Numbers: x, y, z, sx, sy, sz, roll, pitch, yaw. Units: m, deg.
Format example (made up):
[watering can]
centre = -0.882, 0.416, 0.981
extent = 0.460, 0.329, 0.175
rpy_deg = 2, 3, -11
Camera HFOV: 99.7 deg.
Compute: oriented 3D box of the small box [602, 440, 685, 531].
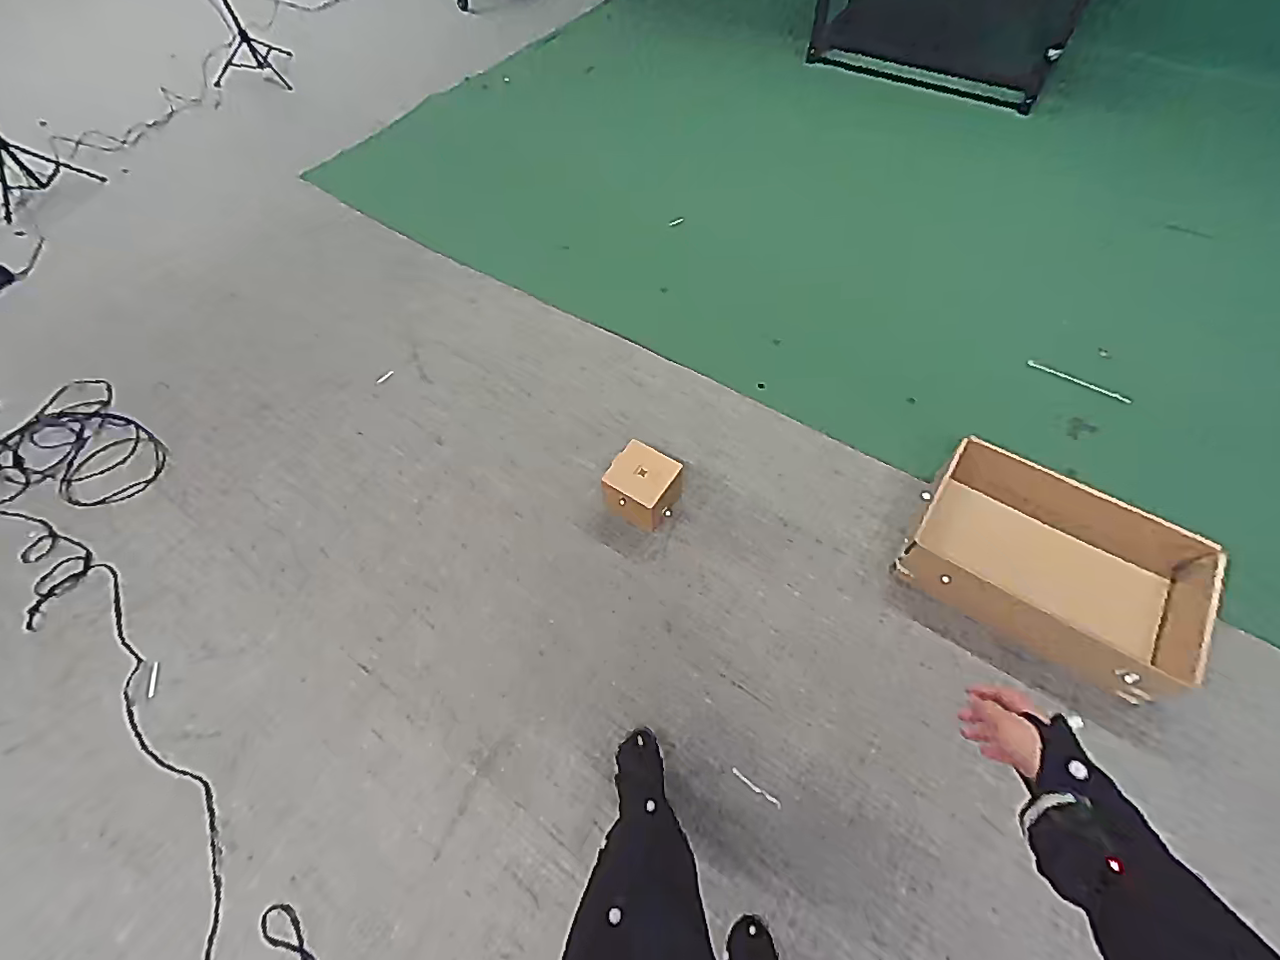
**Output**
[small box]
centre = 0.011, 0.021, 1.556
extent = 0.179, 0.176, 0.168
rpy_deg = 29, 66, 17
